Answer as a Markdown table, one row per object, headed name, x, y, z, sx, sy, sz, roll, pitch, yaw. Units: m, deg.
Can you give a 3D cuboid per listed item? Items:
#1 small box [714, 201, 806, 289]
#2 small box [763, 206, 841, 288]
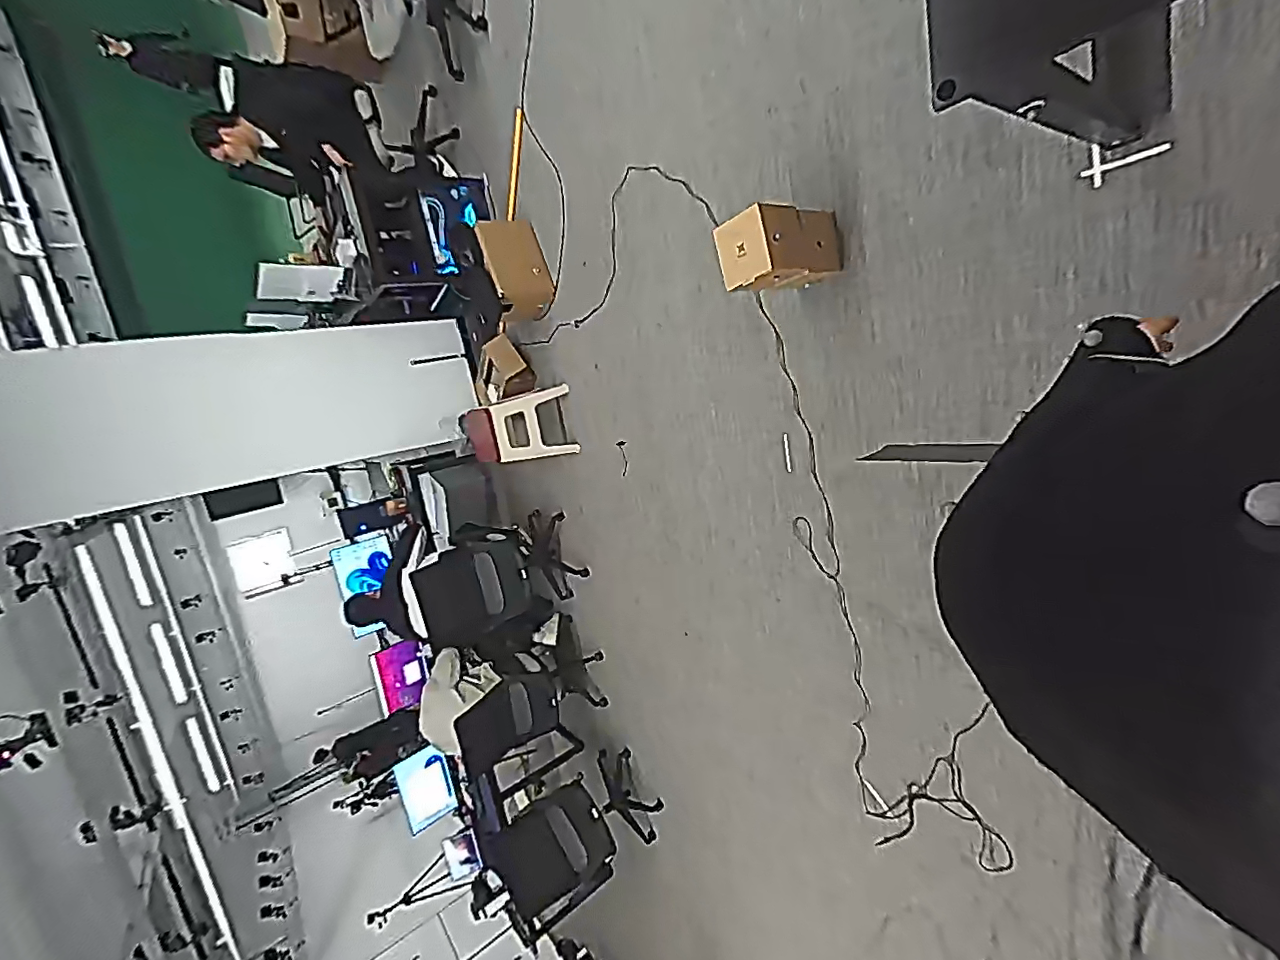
| name | x | y | z | sx | sy | sz | roll | pitch | yaw |
| --- | --- | --- | --- | --- | --- | --- | --- | --- | --- |
| small box | 0.335 | -0.643 | 1.491 | 0.168 | 0.176 | 0.179 | -8 | 97 | 53 |
| small box | 0.463 | -0.677 | 1.584 | 0.168 | 0.176 | 0.179 | -2 | 104 | 54 |
